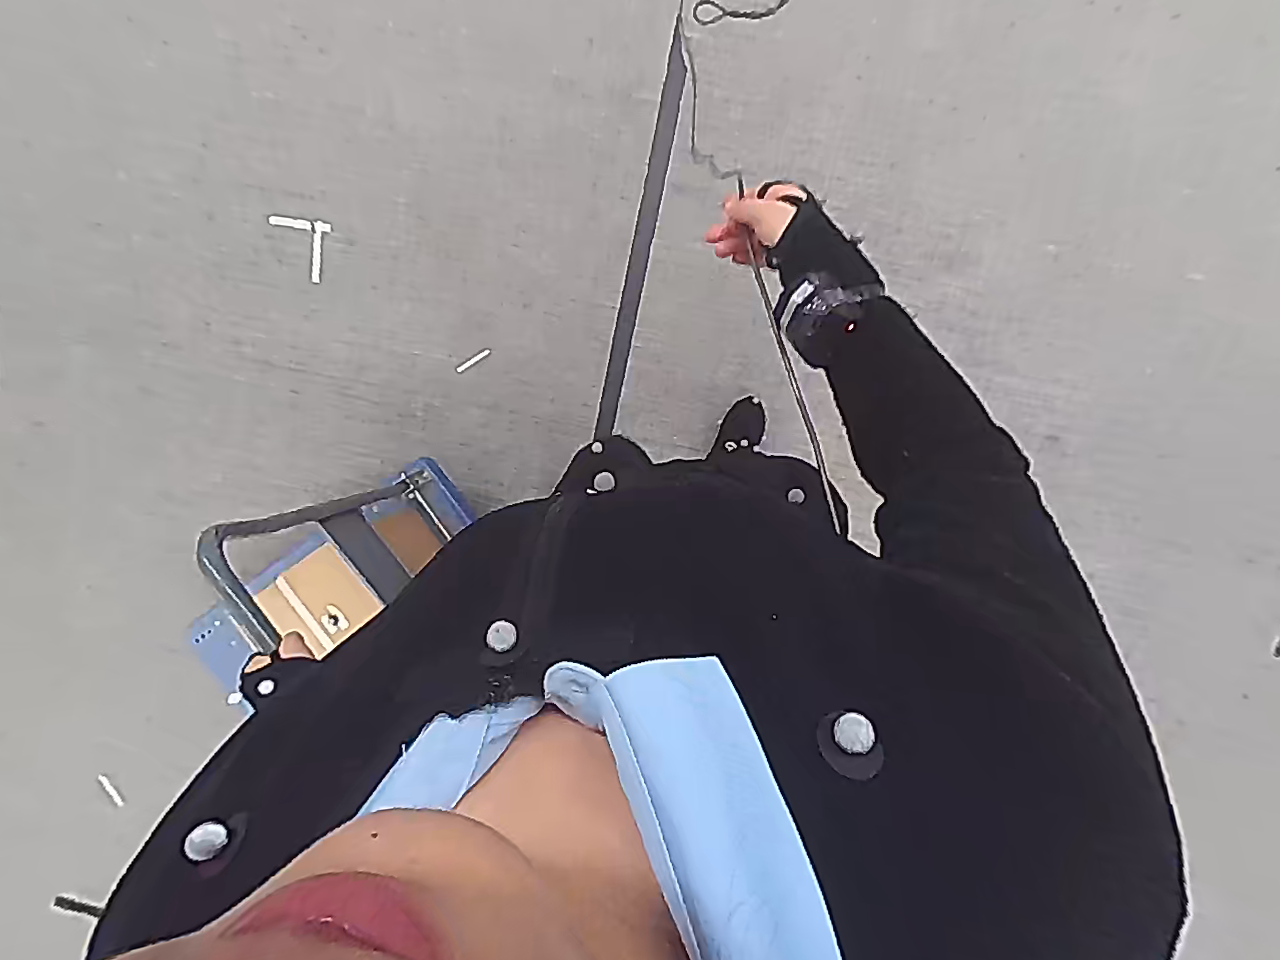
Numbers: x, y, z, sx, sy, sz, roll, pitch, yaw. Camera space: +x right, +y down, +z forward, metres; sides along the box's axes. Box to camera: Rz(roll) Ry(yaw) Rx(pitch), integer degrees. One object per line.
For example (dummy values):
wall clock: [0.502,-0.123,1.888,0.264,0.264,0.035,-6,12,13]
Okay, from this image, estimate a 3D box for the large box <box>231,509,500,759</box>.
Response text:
large box: [-0.603,0.335,1.262,0.320,0.320,0.408,-33,94,8]
